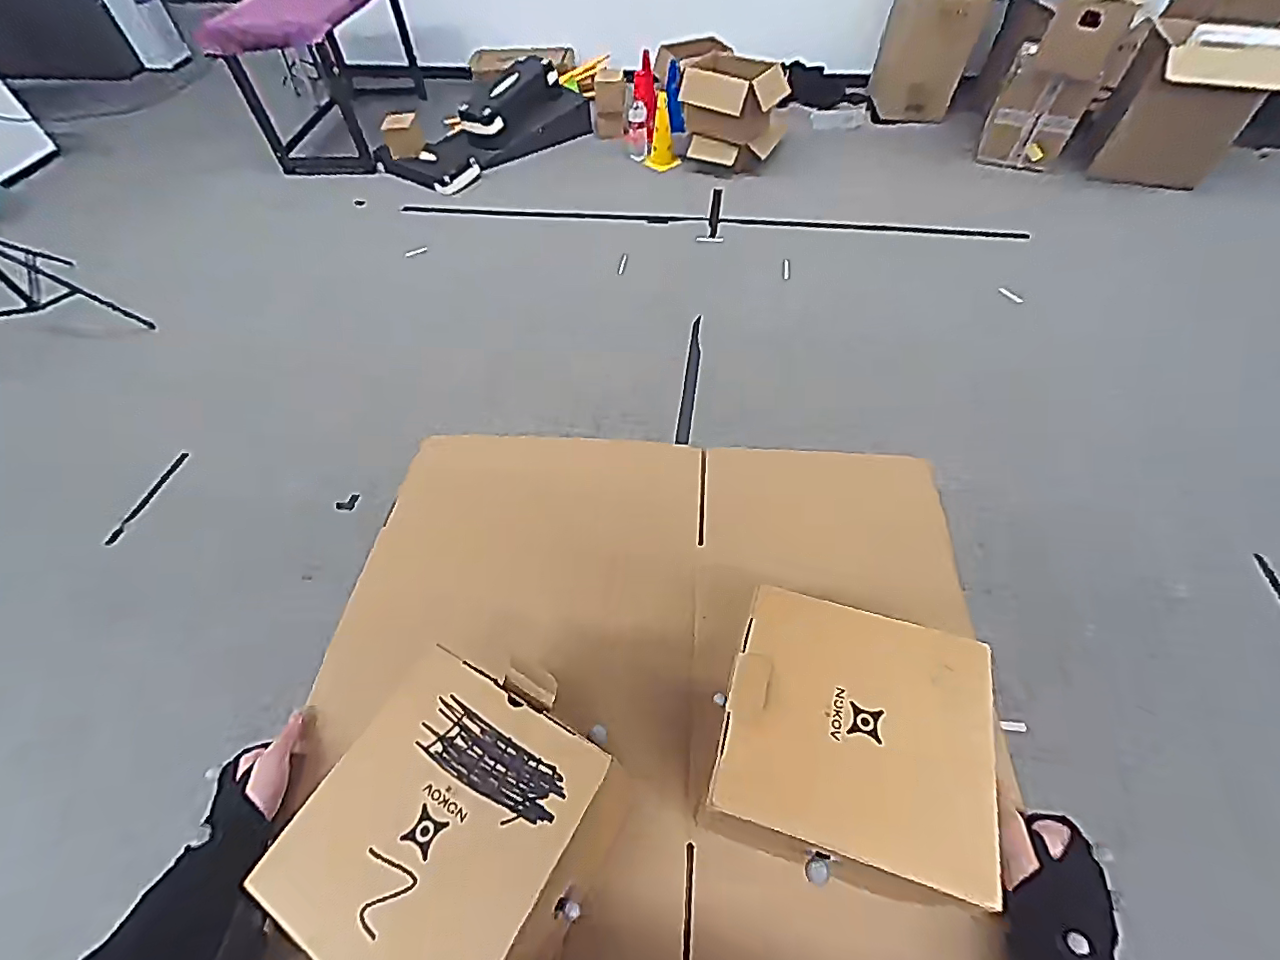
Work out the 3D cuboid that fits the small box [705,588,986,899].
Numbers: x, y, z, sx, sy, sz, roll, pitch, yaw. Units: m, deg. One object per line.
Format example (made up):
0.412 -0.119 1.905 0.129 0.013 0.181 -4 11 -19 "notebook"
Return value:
0.159 0.218 0.455 0.179 0.176 0.168 12 55 14 "small box"
